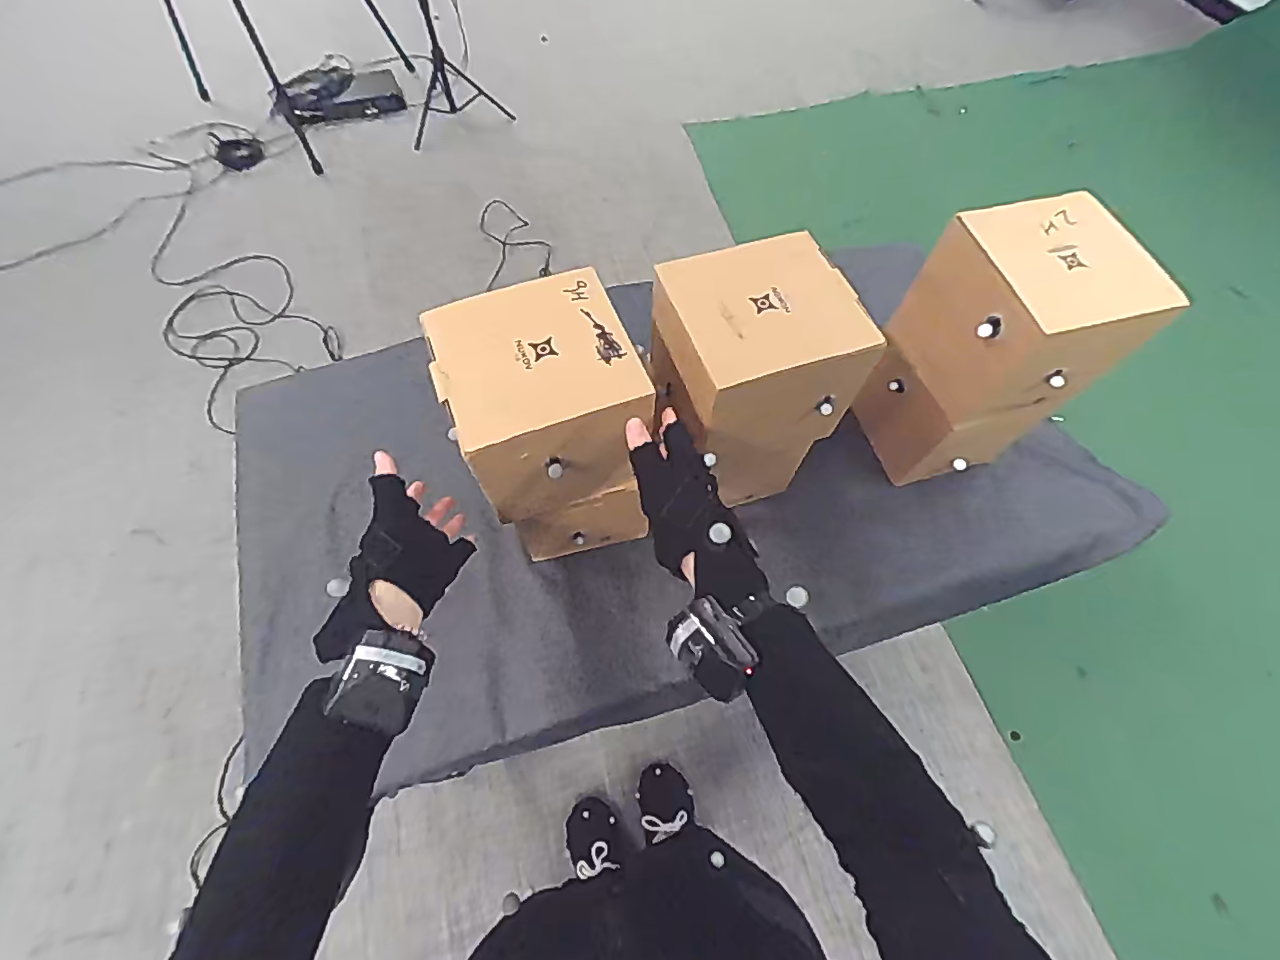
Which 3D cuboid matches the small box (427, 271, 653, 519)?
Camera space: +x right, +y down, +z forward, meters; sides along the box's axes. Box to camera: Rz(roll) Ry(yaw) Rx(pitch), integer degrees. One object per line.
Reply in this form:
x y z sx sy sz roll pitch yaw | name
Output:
-0.094 -0.080 0.568 0.179 0.176 0.168 -20 66 -10 | small box

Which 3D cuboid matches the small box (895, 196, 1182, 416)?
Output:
0.438 -0.191 0.632 0.168 0.176 0.179 -13 64 -7 | small box

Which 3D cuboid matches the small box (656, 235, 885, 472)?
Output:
0.124 -0.132 0.599 0.179 0.176 0.168 -17 64 -8 | small box
